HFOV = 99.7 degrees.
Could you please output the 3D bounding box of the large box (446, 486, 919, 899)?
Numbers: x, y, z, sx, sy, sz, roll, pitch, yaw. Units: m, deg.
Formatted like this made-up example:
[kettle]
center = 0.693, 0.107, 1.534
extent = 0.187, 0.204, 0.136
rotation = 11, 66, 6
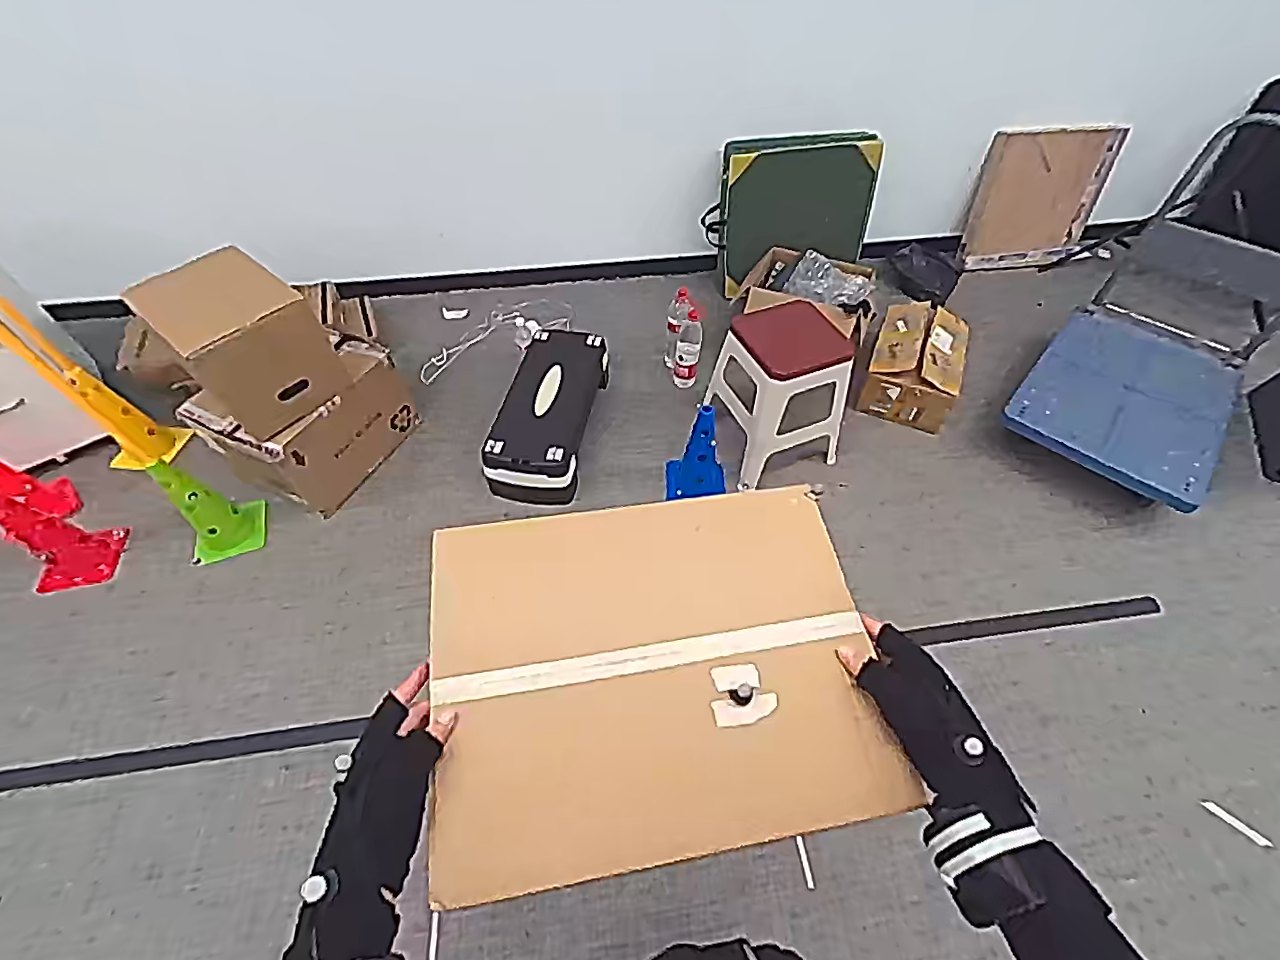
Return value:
[large box]
center = 0.011, 0.237, 0.636
extent = 0.408, 0.320, 0.320
rotation = -7, 61, -9
